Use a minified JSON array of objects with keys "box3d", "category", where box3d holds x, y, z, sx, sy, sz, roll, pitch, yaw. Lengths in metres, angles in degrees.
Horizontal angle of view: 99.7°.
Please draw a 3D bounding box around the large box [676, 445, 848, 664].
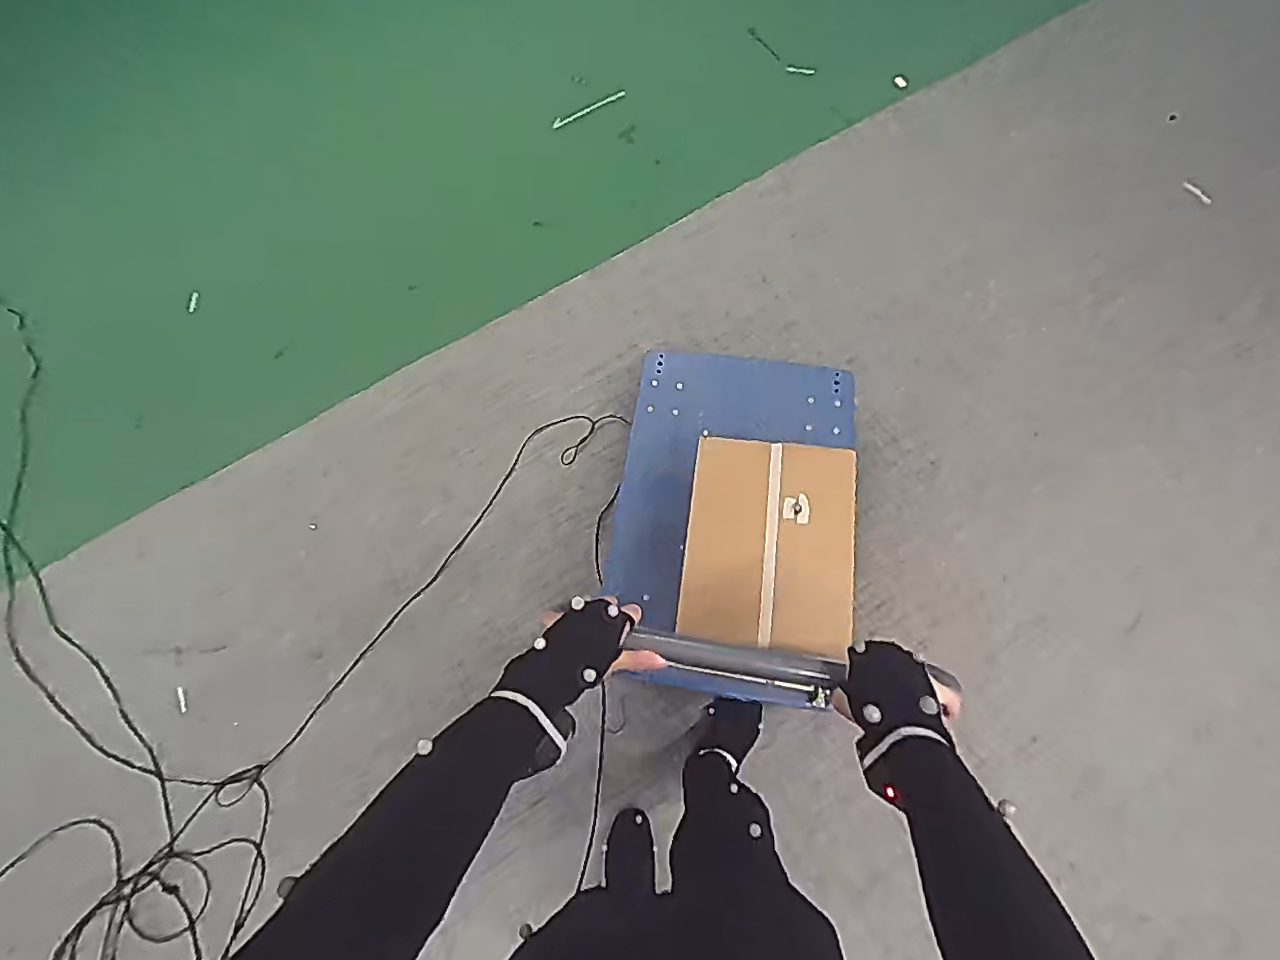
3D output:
[{"box3d":[0.256,0.177,1.188,0.320,0.320,0.408,7,71,7],"category":"large box"}]
